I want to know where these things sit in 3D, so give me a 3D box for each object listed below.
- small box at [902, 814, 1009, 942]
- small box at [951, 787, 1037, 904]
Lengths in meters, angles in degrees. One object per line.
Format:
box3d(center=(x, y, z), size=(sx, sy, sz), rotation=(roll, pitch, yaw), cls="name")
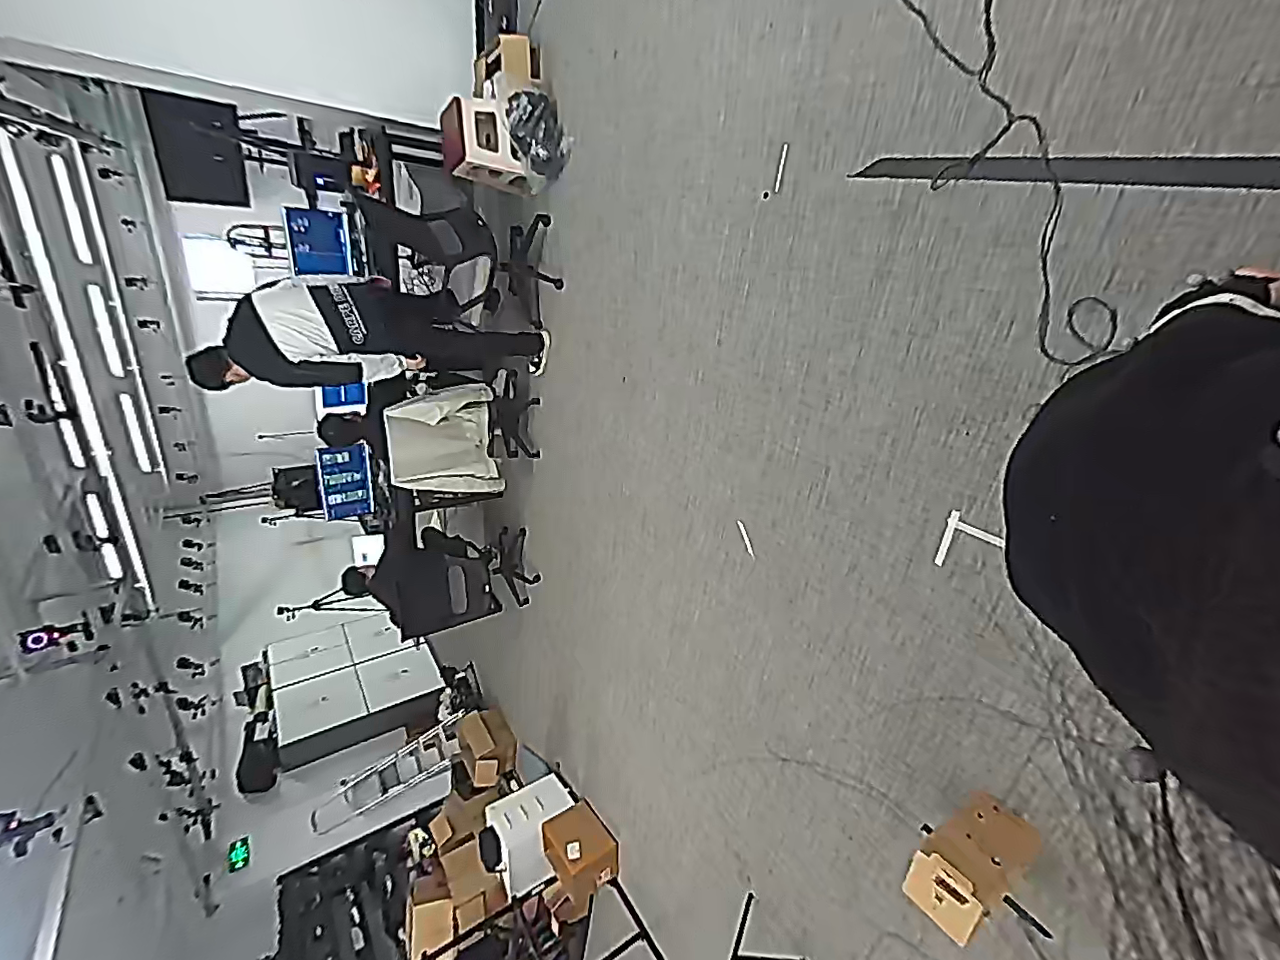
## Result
box3d(center=(0.824, 1.025, 1.410), size=(0.168, 0.176, 0.179), rotation=(32, 125, 48), cls="small box")
box3d(center=(0.961, 1.001, 1.499), size=(0.168, 0.176, 0.179), rotation=(31, 125, 49), cls="small box")
